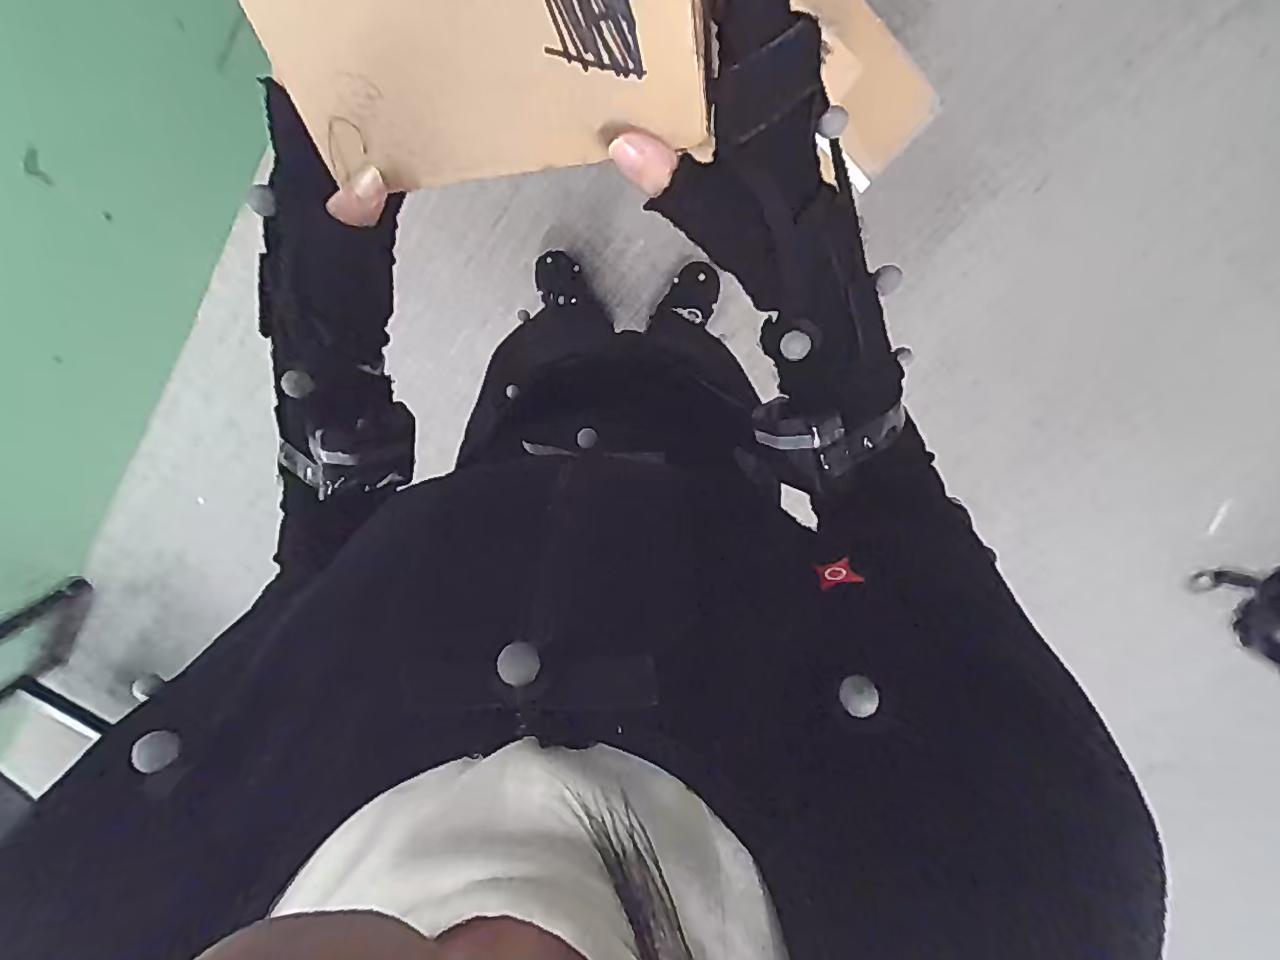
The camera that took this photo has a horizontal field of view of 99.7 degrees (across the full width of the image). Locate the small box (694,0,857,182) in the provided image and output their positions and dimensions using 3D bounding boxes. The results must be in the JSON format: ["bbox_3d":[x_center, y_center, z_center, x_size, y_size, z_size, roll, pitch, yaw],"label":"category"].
[{"bbox_3d":[0.180,-0.564,0.789,0.168,0.176,0.179,37,116,-11],"label":"small box"}]

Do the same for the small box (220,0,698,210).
[{"bbox_3d":[-0.067,-0.247,0.239,0.179,0.176,0.168,-1,138,12],"label":"small box"}]
